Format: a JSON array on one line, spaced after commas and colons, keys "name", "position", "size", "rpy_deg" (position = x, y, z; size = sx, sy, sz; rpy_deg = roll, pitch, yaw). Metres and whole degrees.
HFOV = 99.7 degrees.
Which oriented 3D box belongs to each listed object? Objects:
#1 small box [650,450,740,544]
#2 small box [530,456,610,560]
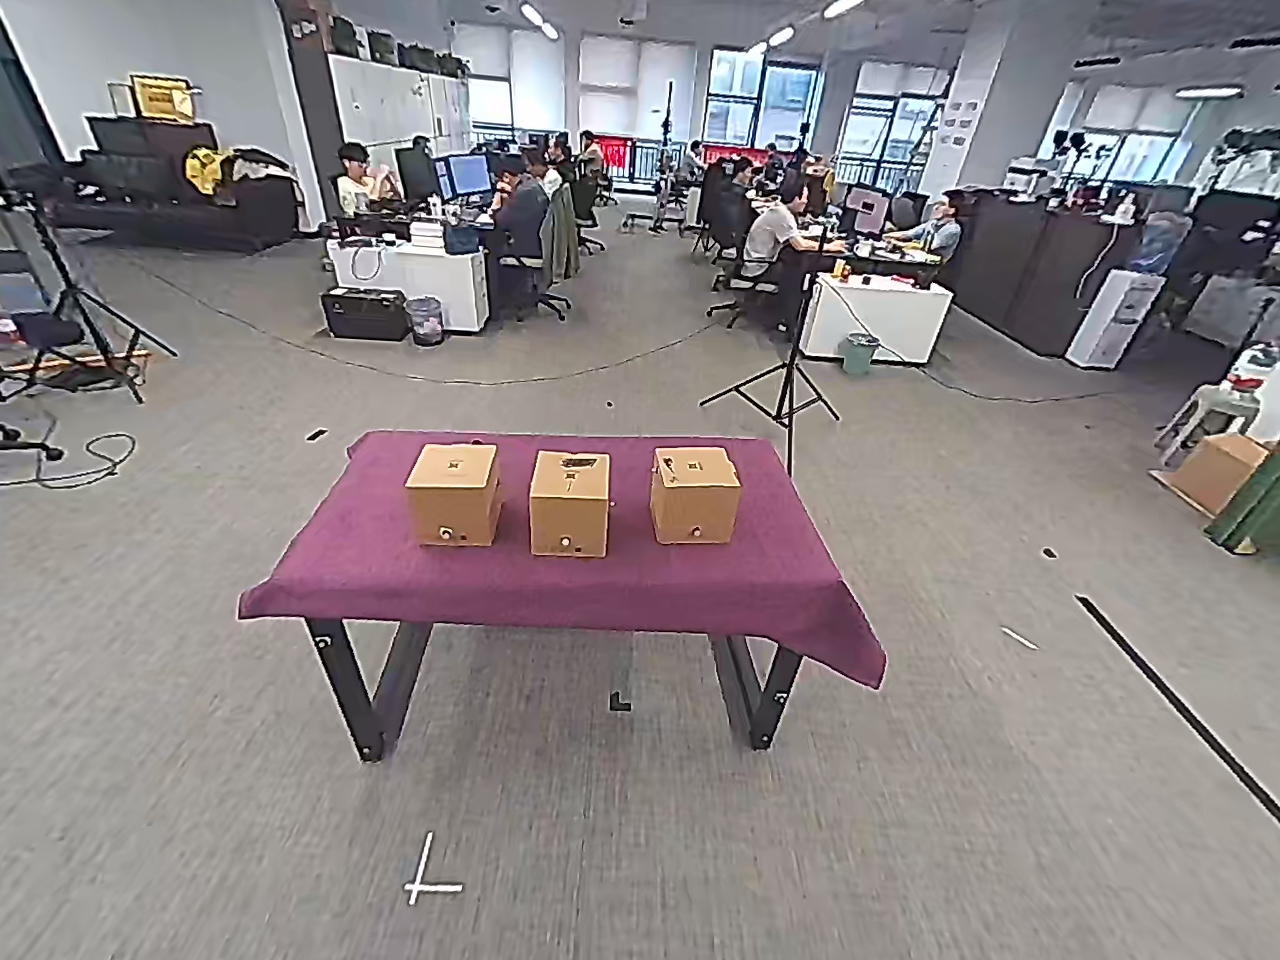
[{"name": "small box", "position": [0.124, 0.043, 1.307], "size": [0.179, 0.176, 0.168], "rpy_deg": [0, 33, -7]}, {"name": "small box", "position": [-0.157, 0.062, 1.242], "size": [0.168, 0.176, 0.179], "rpy_deg": [2, 34, -4]}]
